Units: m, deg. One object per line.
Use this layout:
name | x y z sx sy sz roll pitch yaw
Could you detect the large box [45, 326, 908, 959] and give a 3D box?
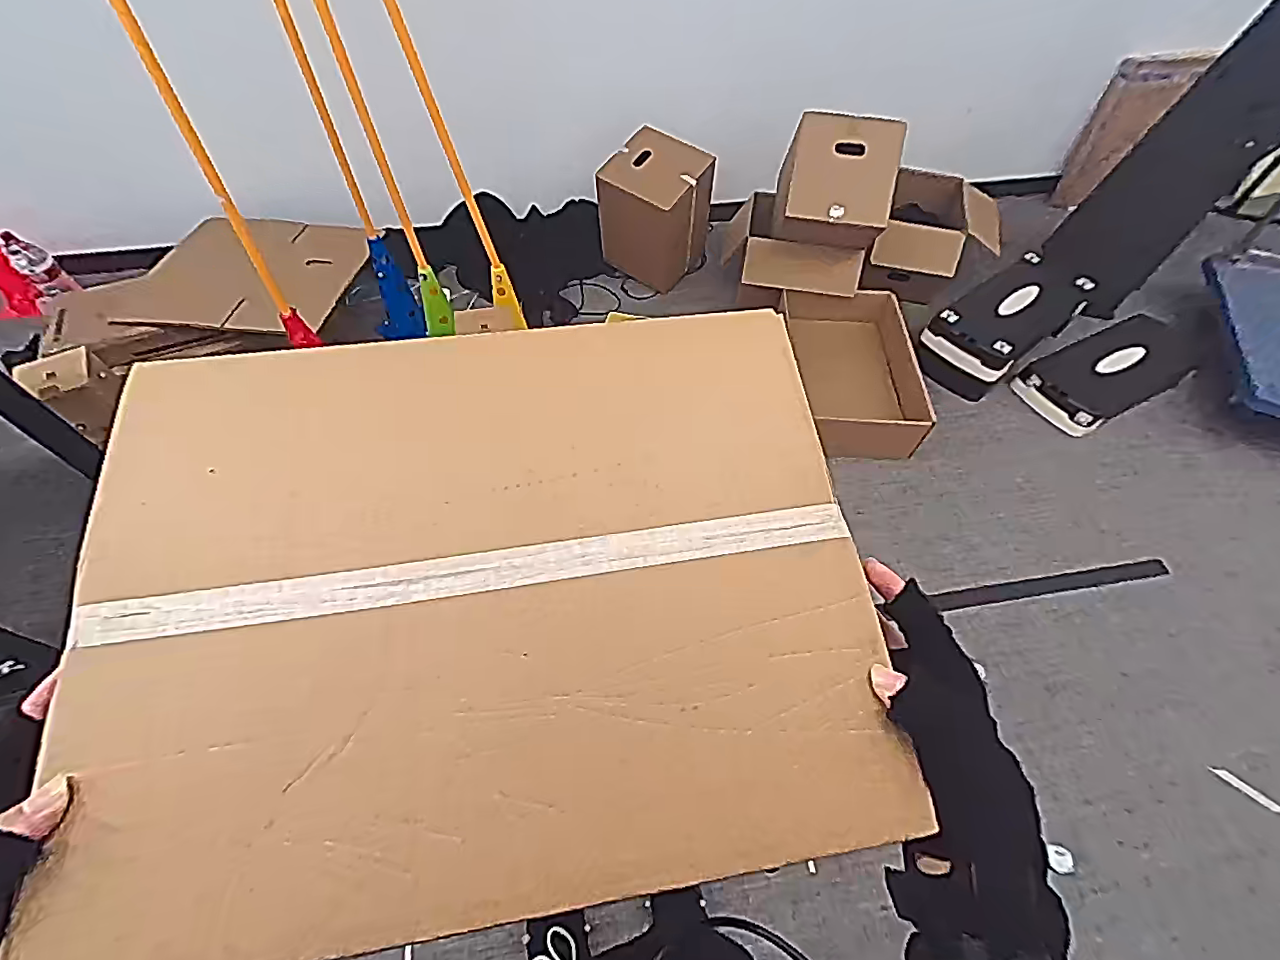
large box | -0.089 0.113 0.438 0.408 0.320 0.320 -7 68 -6
